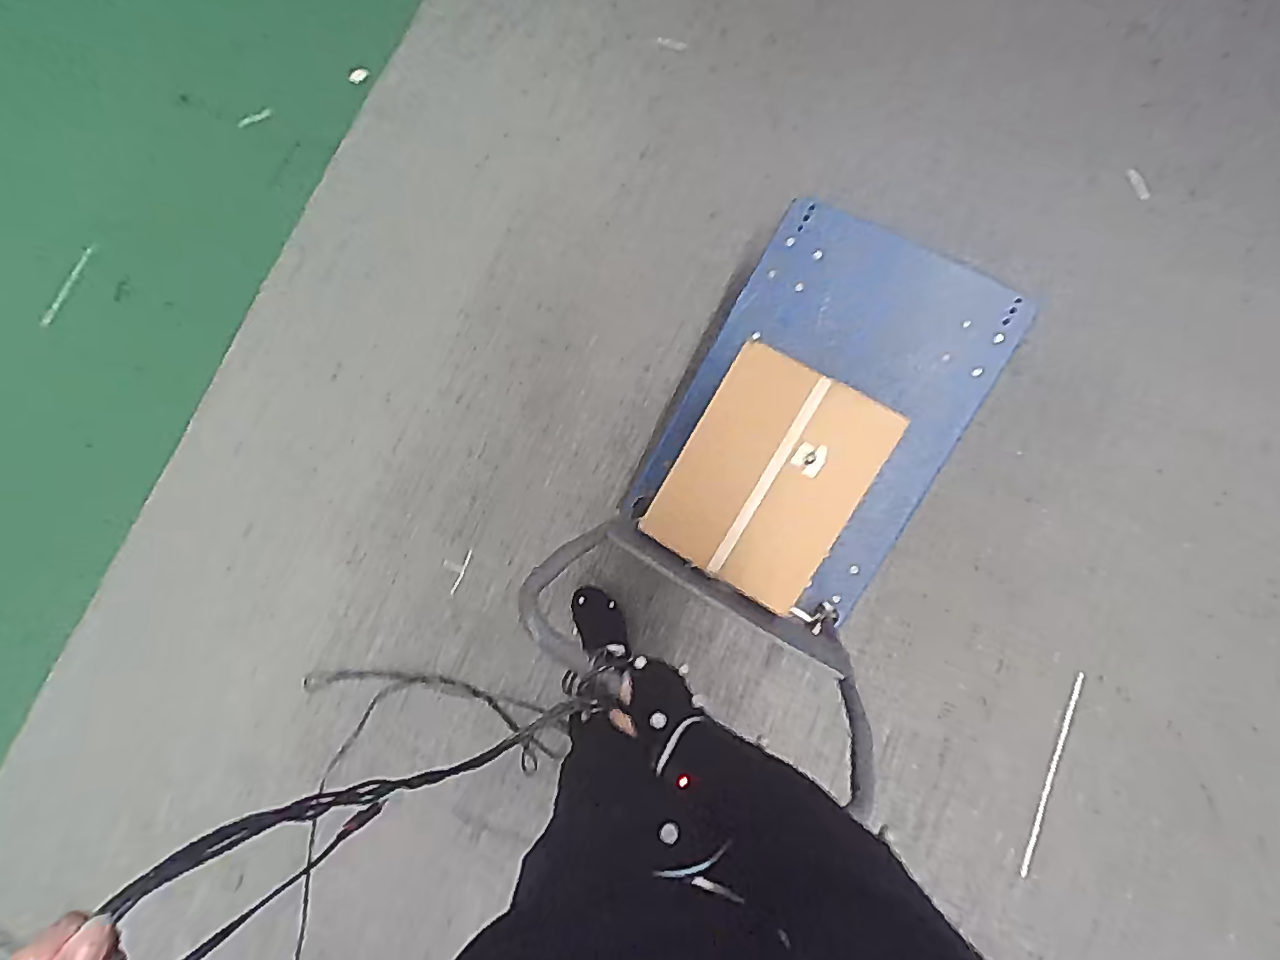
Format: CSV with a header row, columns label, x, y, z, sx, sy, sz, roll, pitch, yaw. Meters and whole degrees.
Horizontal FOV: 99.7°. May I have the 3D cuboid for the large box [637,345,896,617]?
label,x,y,z,sx,sy,sz,roll,pitch,yaw
large box,0.246,0.002,1.115,0.320,0.320,0.408,32,97,9
